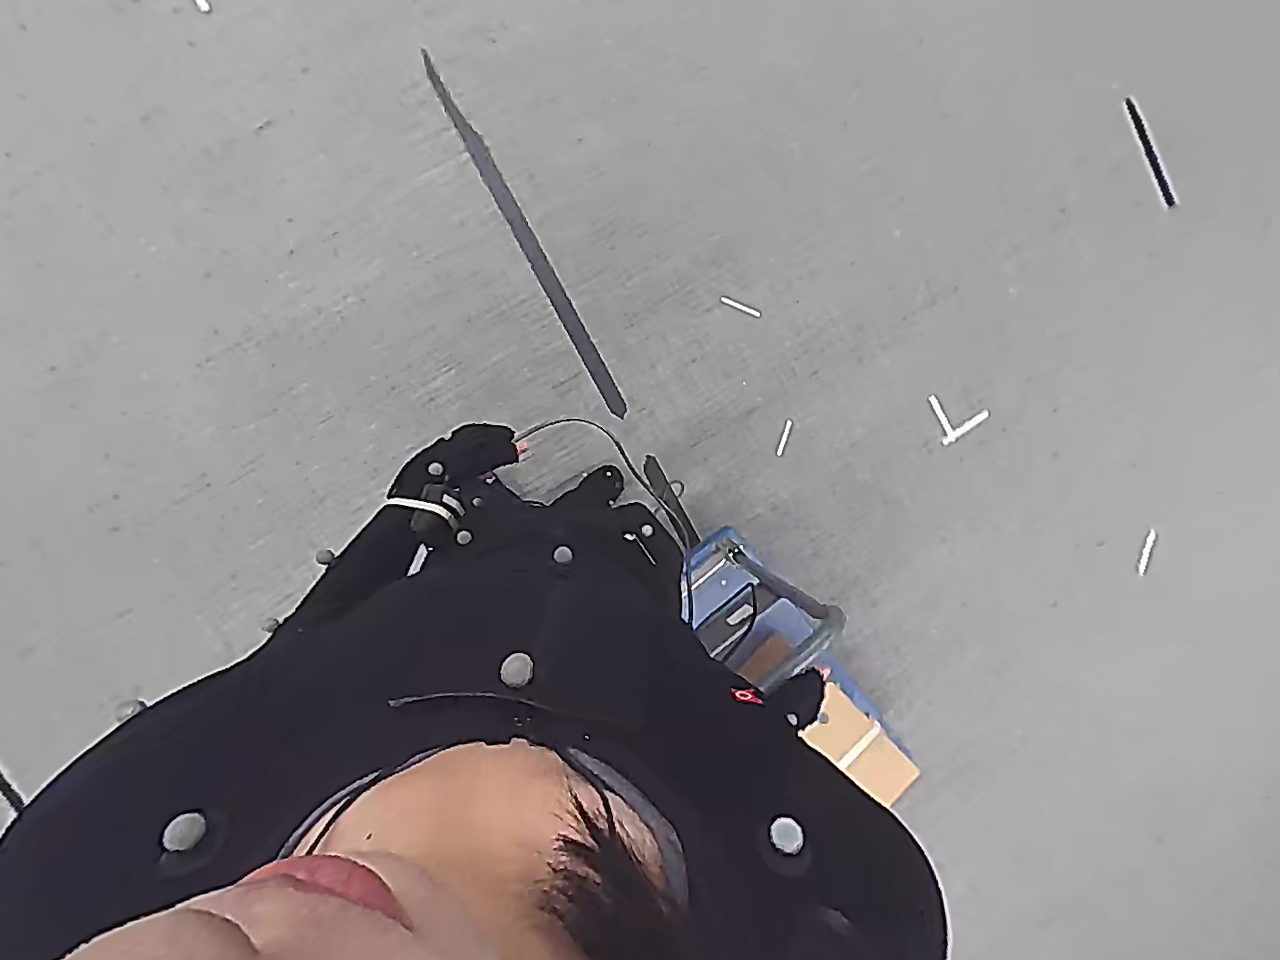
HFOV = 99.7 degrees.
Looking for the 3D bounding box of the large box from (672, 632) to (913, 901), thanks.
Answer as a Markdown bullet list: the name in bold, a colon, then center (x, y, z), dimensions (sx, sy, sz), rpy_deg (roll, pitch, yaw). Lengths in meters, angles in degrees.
- **large box**: center (0.341, 0.653, 1.299), dimensions (0.408, 0.320, 0.320), rpy_deg (-45, 97, -2)
